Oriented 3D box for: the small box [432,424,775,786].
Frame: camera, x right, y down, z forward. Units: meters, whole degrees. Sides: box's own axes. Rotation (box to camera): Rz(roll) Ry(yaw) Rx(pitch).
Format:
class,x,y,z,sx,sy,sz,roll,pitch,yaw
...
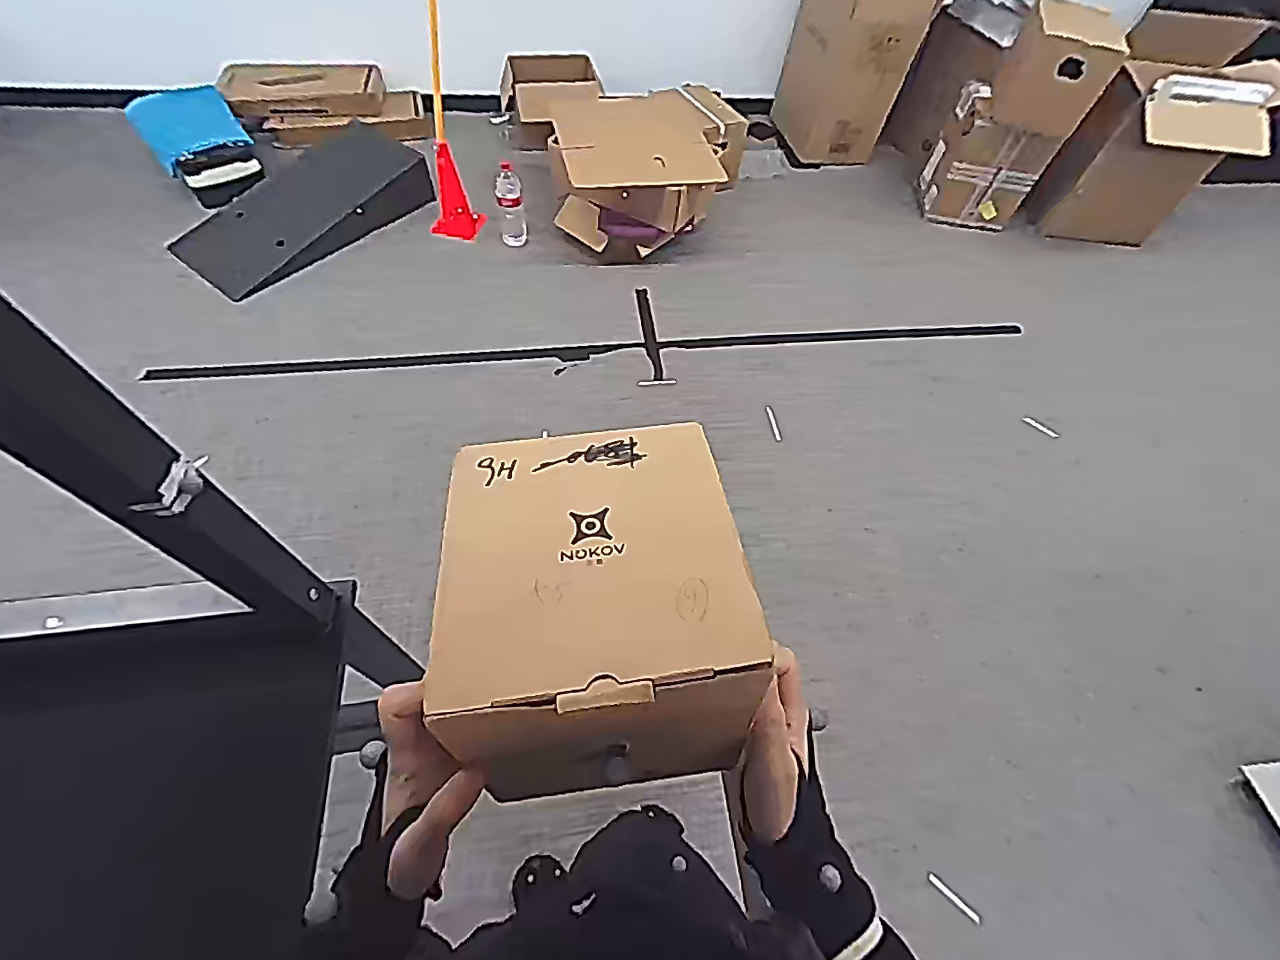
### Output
class,x,y,z,sx,sy,sz,roll,pitch,yaw
small box,-0.023,0.089,0.363,0.168,0.176,0.179,-7,49,-5
